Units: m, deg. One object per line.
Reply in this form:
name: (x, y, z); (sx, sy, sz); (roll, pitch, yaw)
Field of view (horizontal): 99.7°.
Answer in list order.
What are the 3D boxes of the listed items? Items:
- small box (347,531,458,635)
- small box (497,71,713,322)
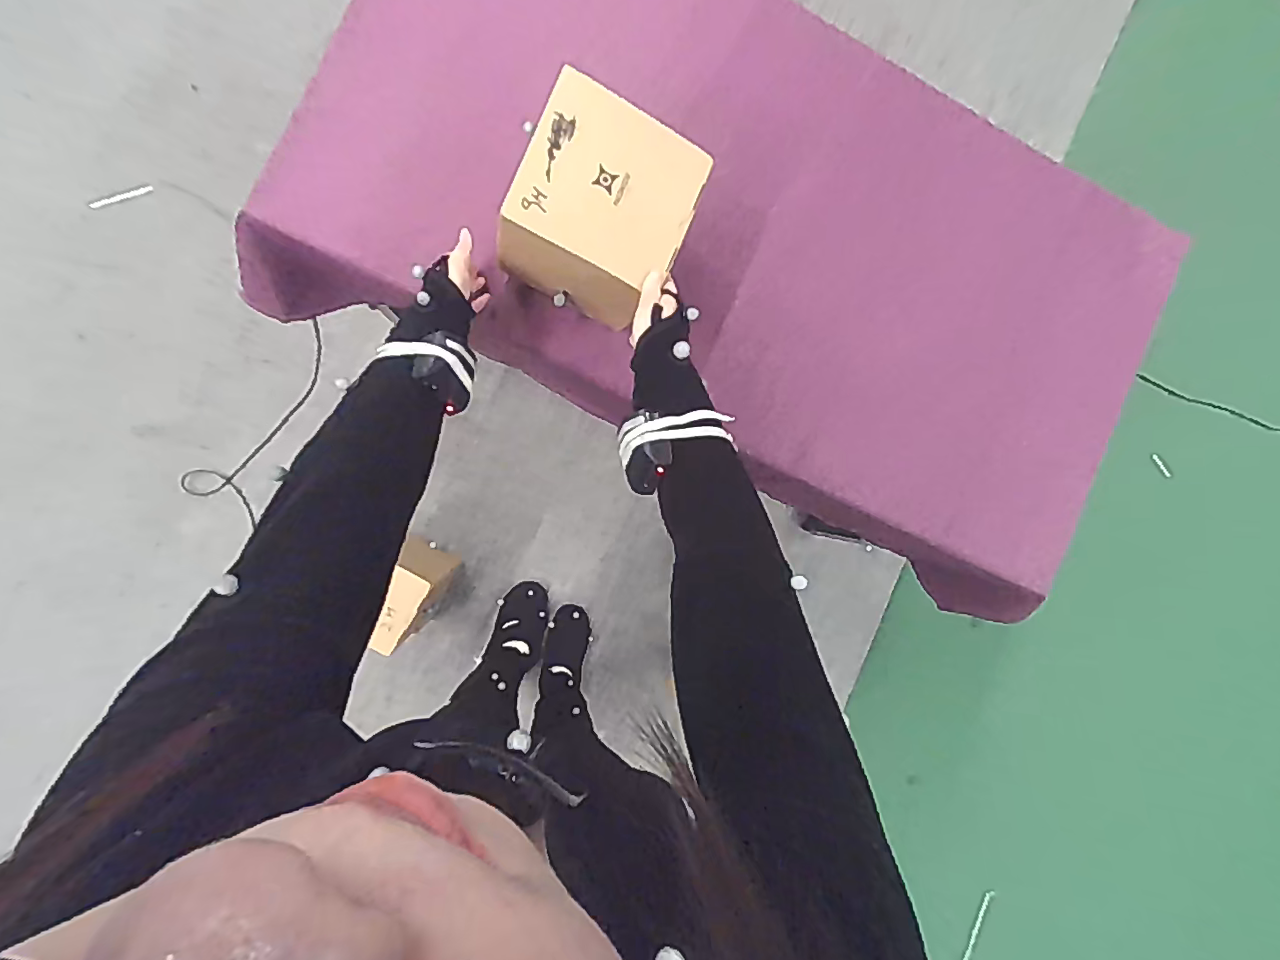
small box: (-0.558, 0.239, 1.300); (0.168, 0.176, 0.179); (28, 85, -8)
small box: (-0.051, -0.300, 0.624); (0.179, 0.176, 0.168); (24, 86, -18)
